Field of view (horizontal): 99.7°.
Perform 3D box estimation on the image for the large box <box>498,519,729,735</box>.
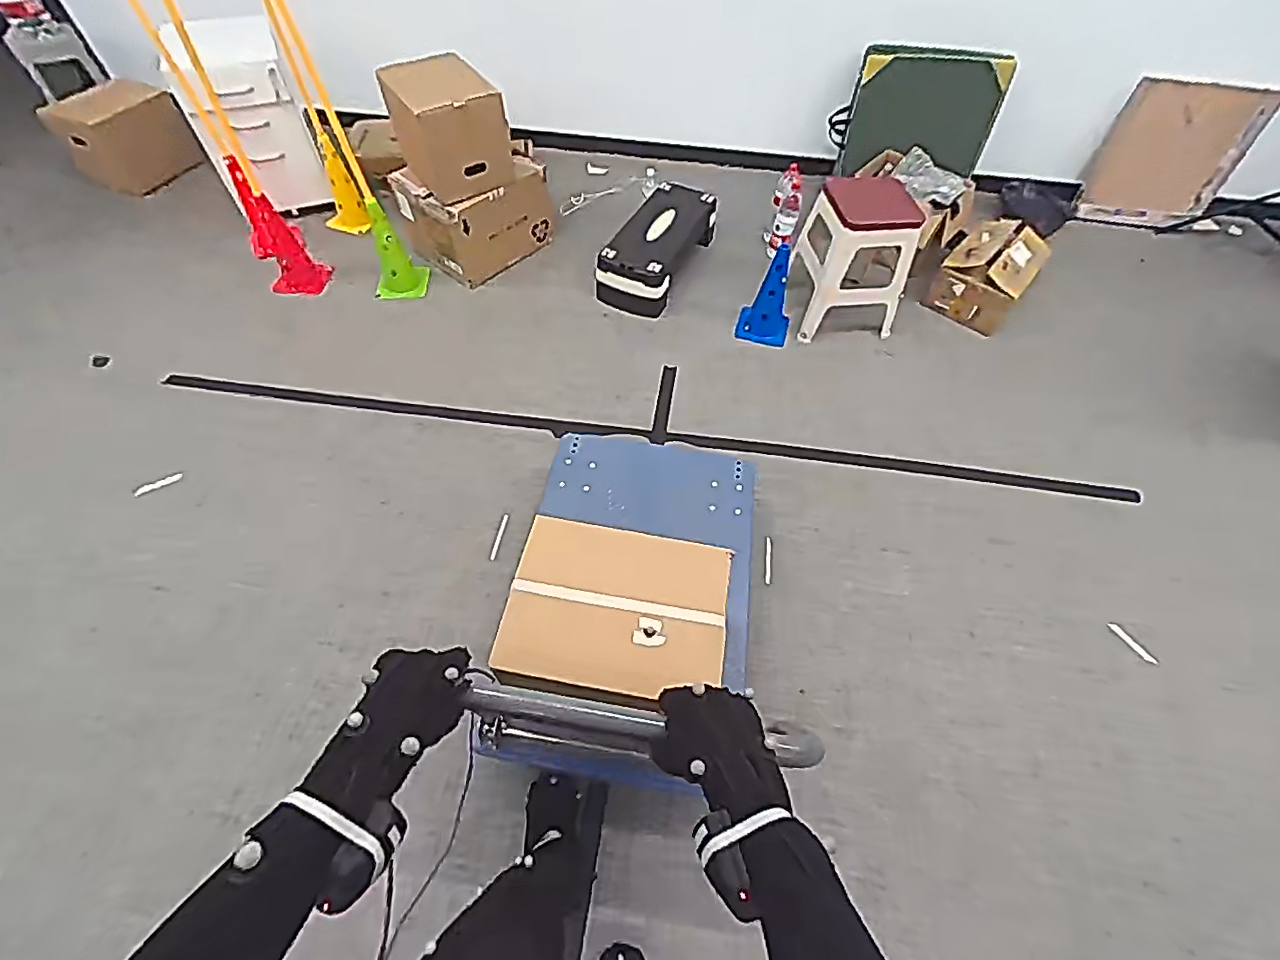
[{"bbox_3d":[-0.047,0.319,1.151,0.408,0.320,0.320,10,56,2],"label":"large box"}]
